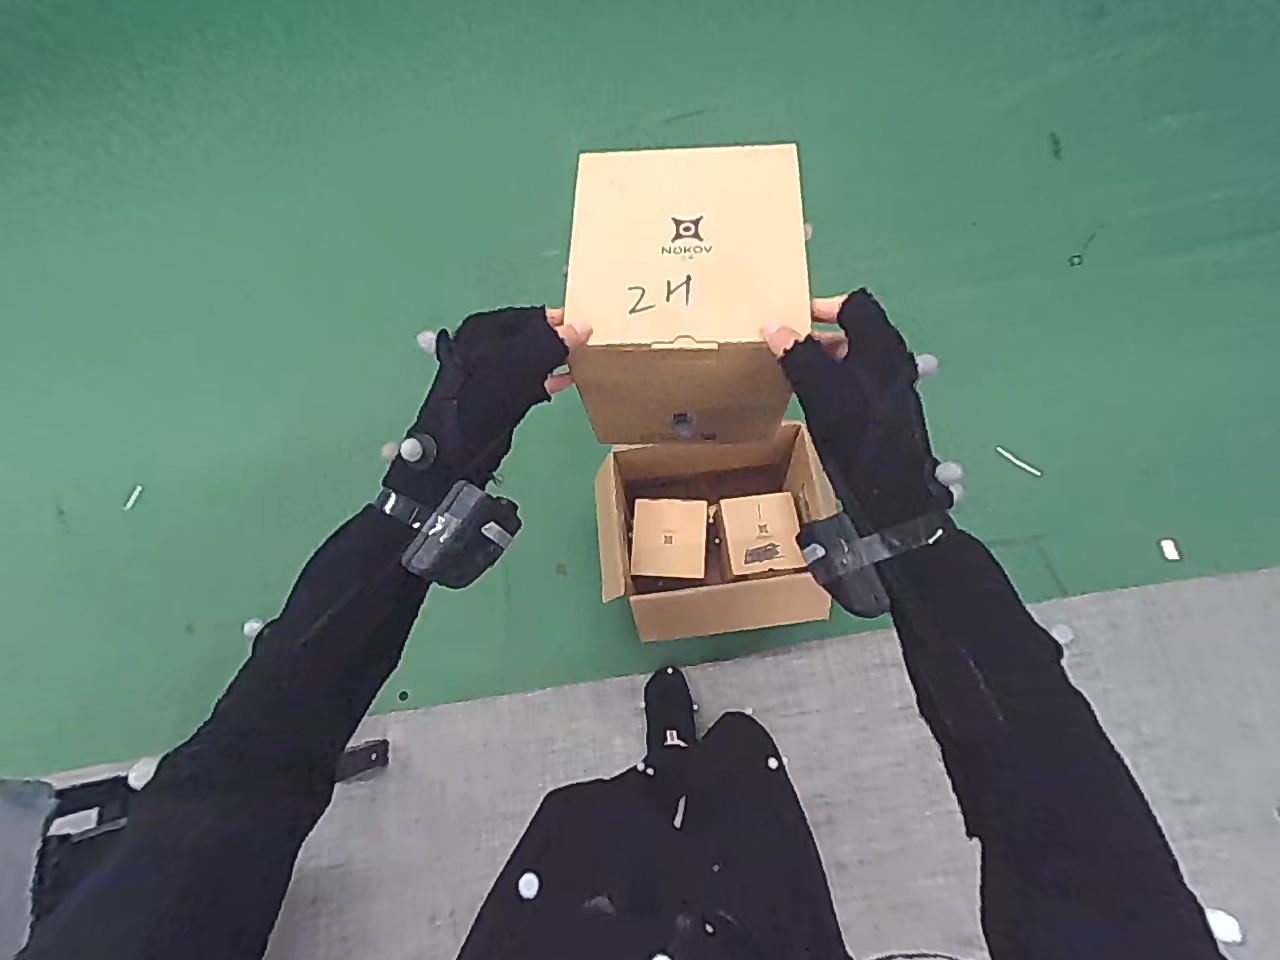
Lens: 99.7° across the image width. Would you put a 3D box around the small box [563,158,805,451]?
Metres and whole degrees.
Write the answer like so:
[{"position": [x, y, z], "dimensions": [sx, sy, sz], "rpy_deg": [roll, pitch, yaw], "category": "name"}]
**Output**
[{"position": [0.038, -0.139, 0.465], "dimensions": [0.168, 0.176, 0.179], "rpy_deg": [1, 70, 5], "category": "small box"}]
